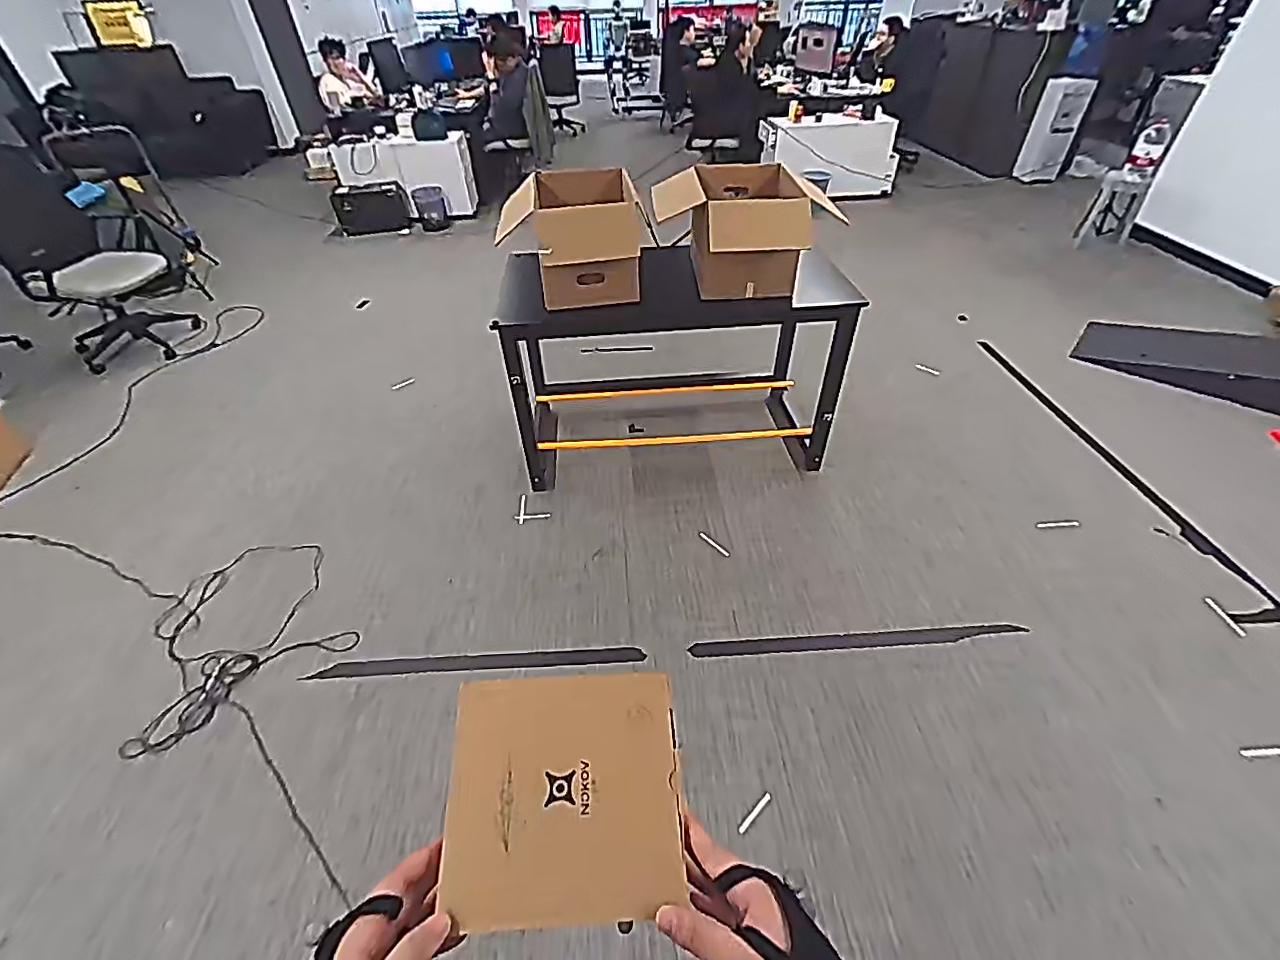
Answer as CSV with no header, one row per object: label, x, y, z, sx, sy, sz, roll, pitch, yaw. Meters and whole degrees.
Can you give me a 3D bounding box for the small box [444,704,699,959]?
small box,-0.055,0.303,0.475,0.179,0.176,0.168,-3,56,-4
